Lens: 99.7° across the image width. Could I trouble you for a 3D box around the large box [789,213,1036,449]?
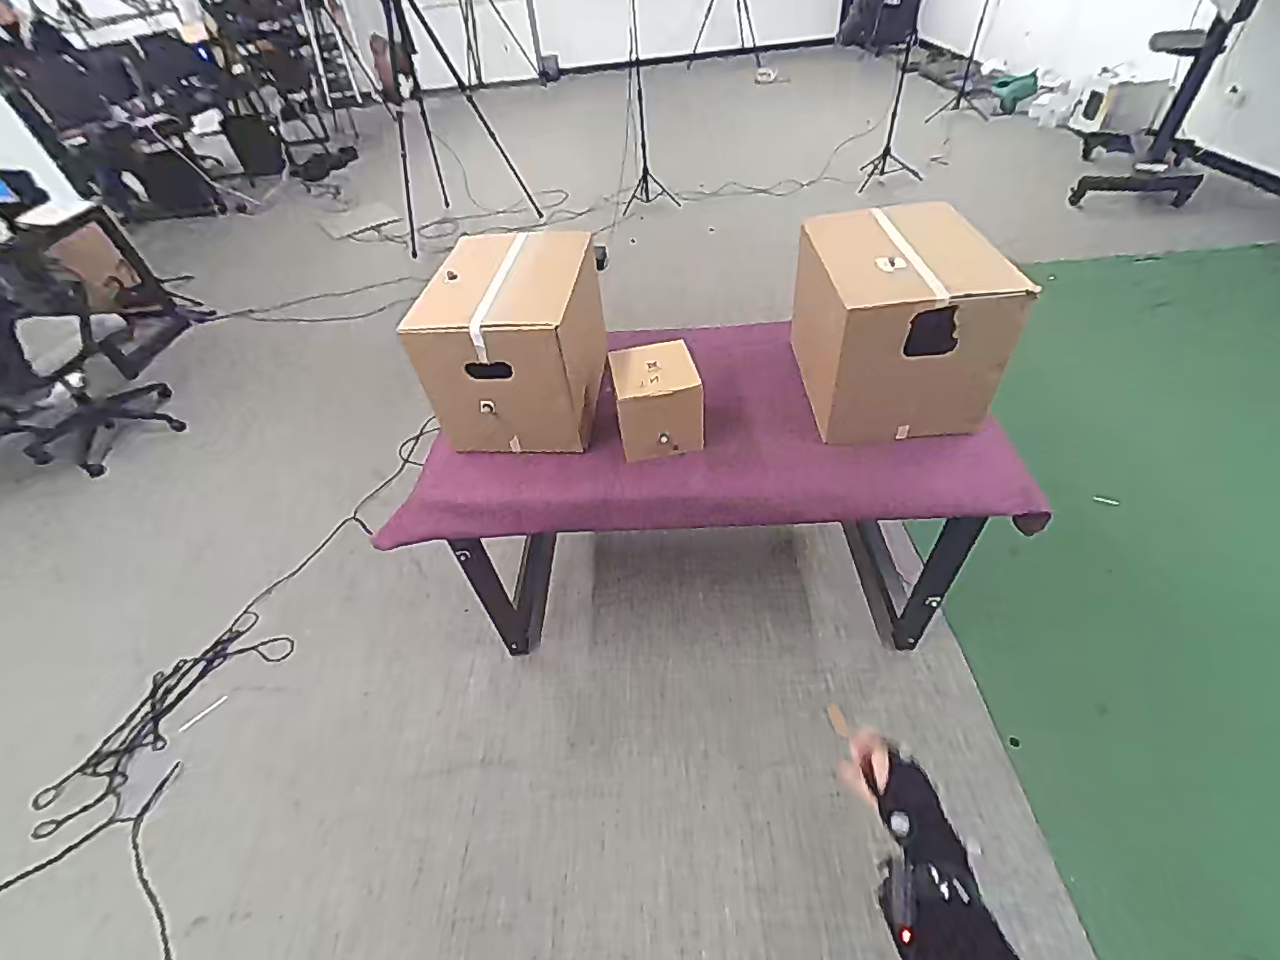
[{"bbox_3d":[0.519,-0.320,1.145,0.320,0.320,0.408,-5,46,6],"label":"large box"}]
